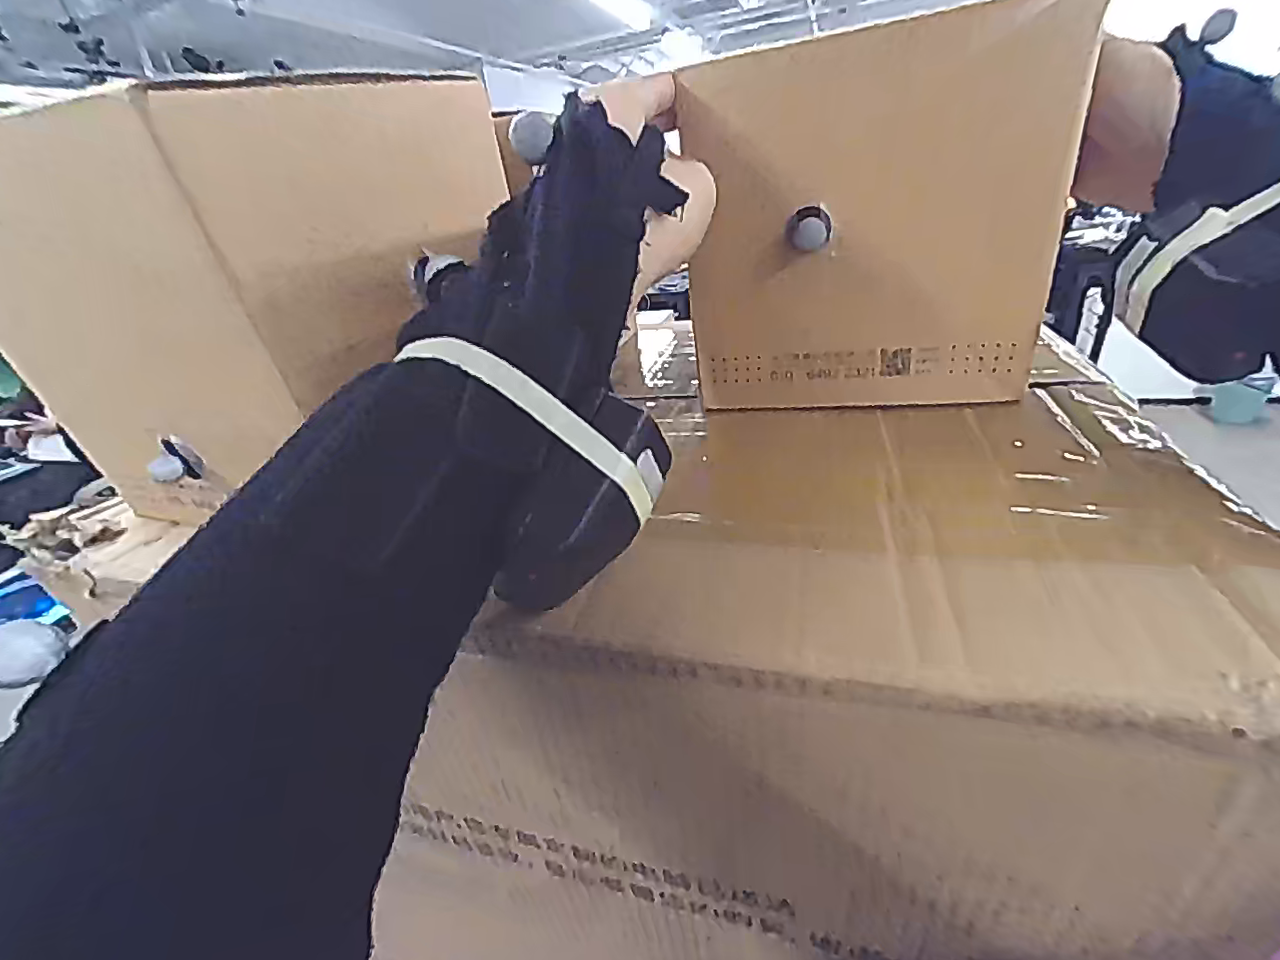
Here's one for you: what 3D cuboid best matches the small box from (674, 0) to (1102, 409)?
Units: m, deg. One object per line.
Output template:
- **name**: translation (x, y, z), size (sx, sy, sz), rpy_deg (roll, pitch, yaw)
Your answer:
- **small box**: translation (0.127, -0.147, 0.325), size (0.168, 0.176, 0.179), rpy_deg (1, 29, 18)
